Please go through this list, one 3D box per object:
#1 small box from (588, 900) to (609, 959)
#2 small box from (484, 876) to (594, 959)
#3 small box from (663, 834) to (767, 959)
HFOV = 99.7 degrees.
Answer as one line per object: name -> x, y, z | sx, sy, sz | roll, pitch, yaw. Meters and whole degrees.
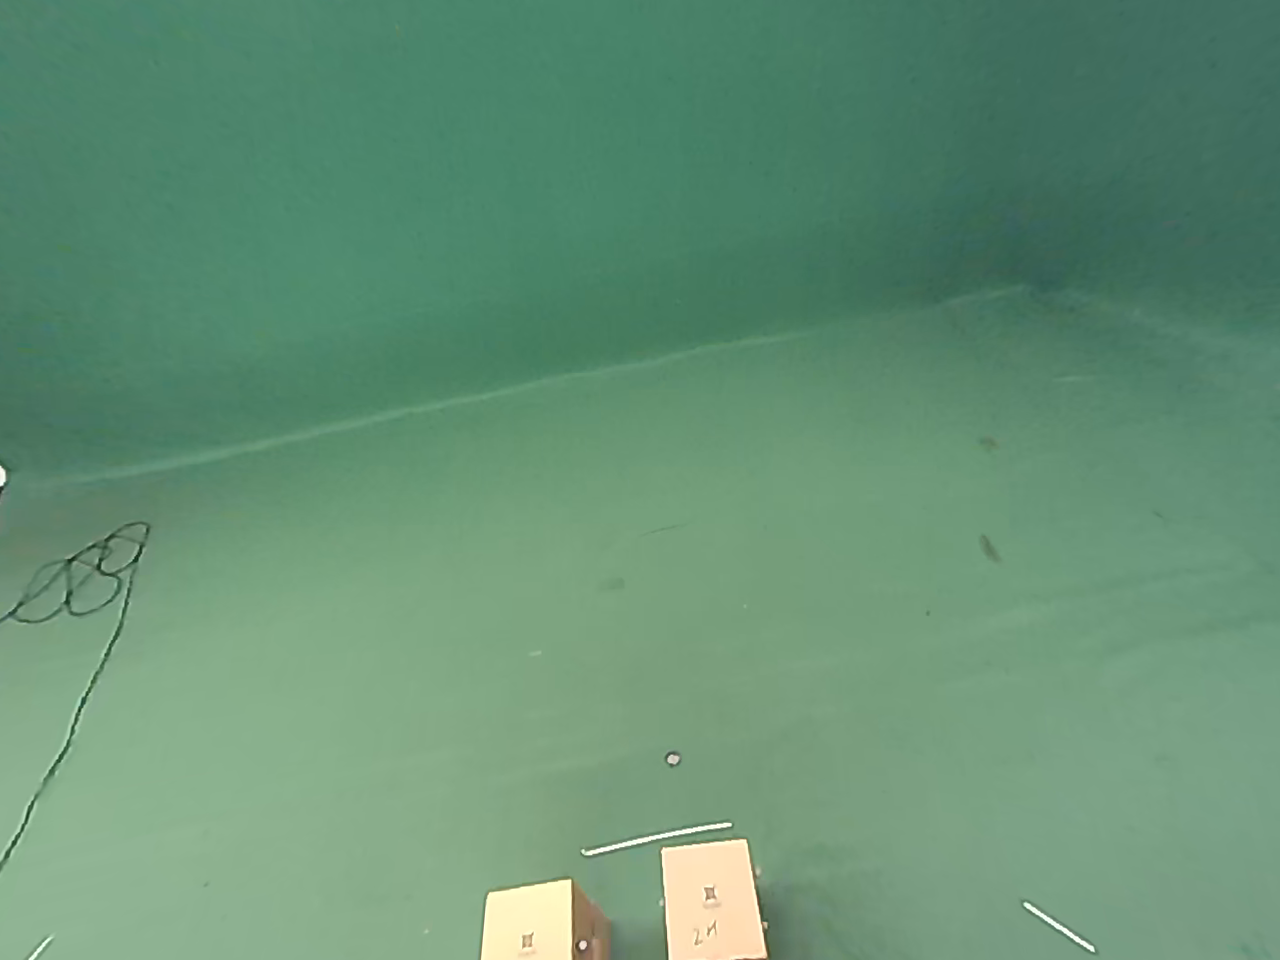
small box -> -0.159, 1.002, 1.120 | 0.179, 0.176, 0.168 | -12, 40, 2
small box -> -0.185, 0.881, 1.013 | 0.168, 0.176, 0.179 | -11, 40, 1
small box -> 0.139, 0.802, 1.020 | 0.168, 0.176, 0.179 | -9, 41, 4
